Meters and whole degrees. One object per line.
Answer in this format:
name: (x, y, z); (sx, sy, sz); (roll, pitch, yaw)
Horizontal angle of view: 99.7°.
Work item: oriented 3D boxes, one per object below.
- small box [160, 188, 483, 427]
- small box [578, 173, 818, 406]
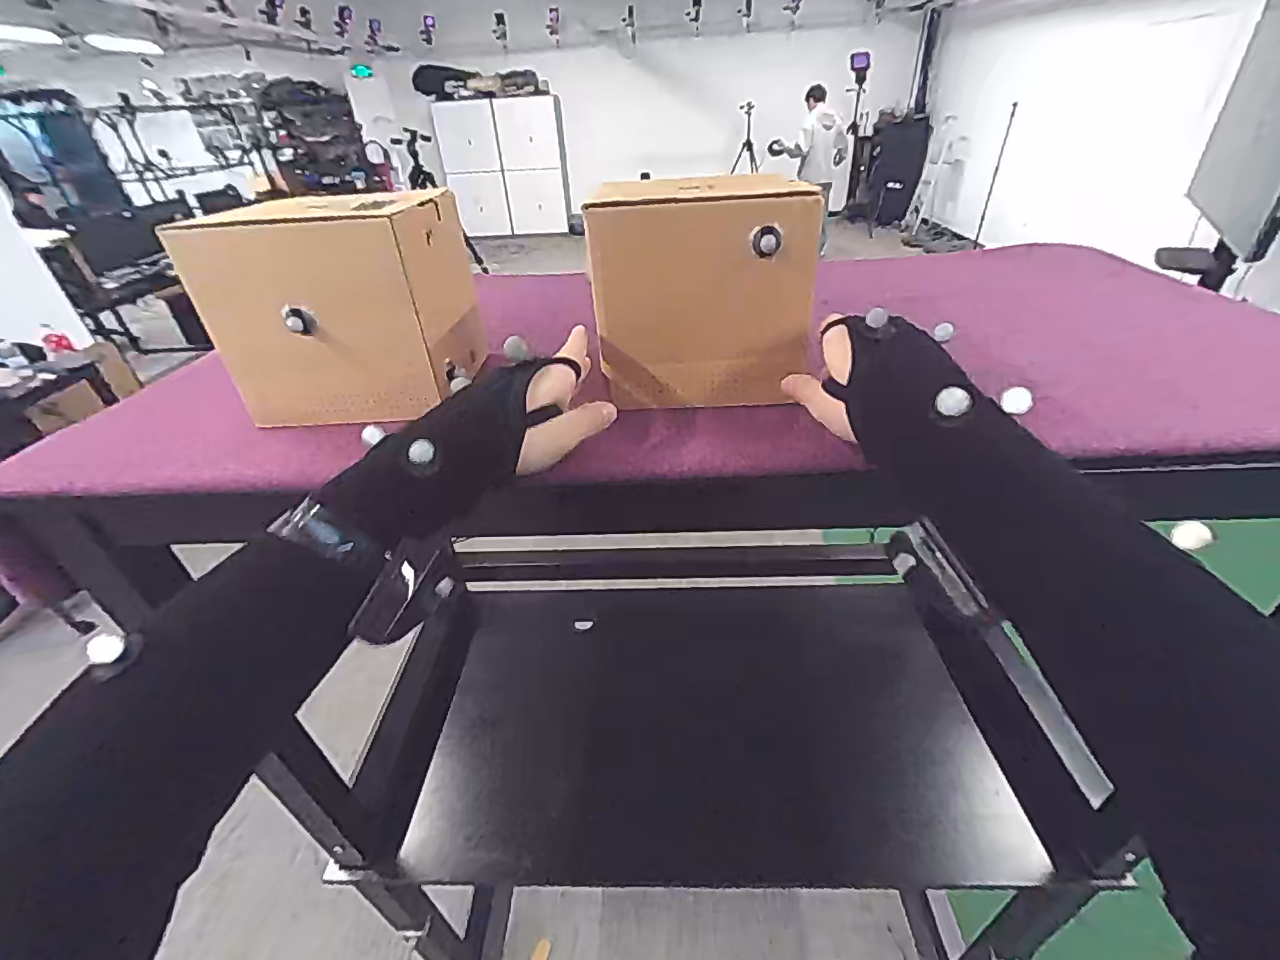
small box: (-0.261, -0.161, 0.502); (0.179, 0.176, 0.168); (-4, 34, 2)
small box: (0.048, -0.174, 0.494); (0.179, 0.176, 0.168); (-2, 34, 2)
